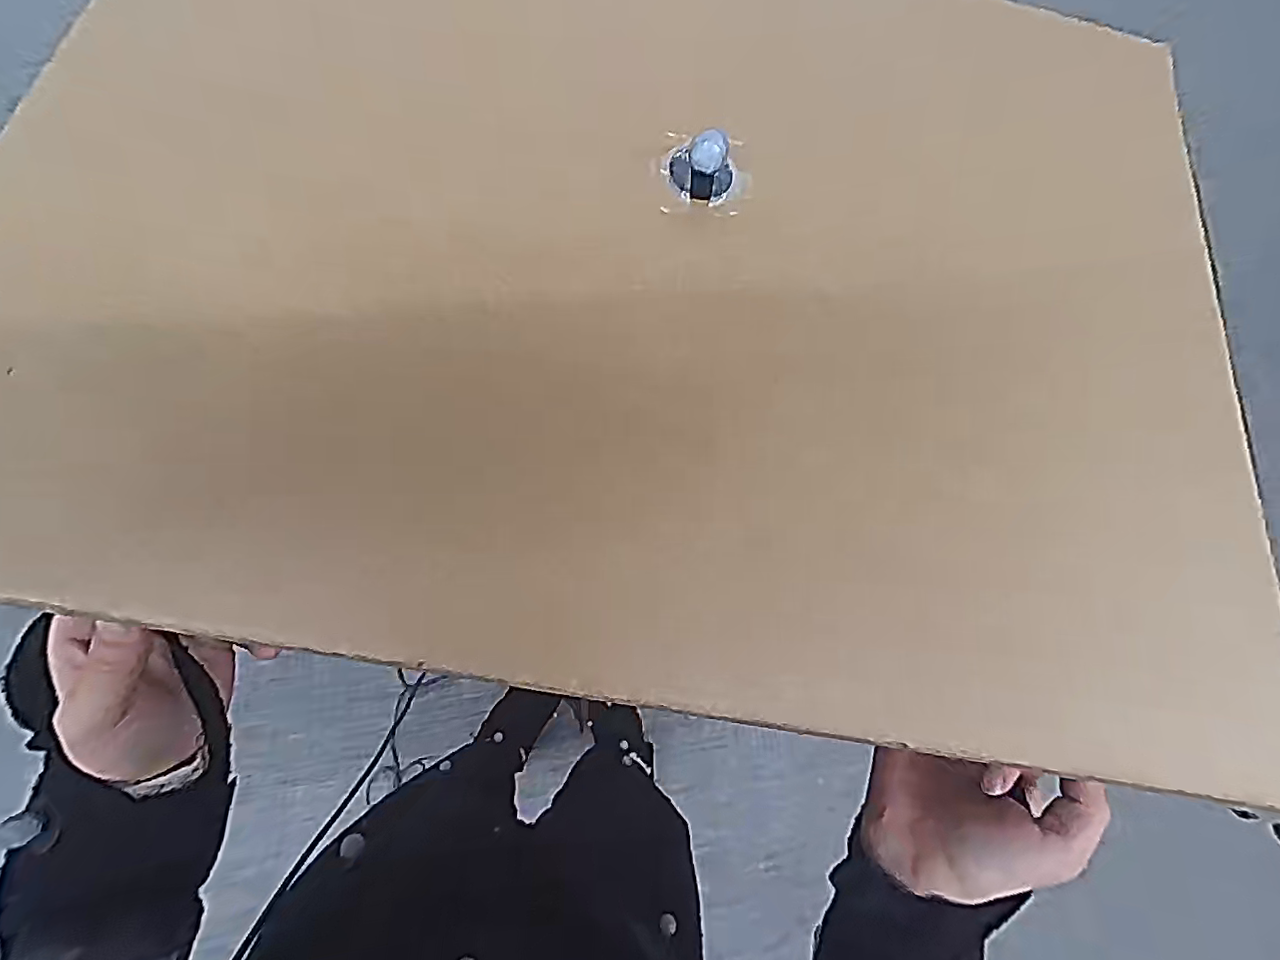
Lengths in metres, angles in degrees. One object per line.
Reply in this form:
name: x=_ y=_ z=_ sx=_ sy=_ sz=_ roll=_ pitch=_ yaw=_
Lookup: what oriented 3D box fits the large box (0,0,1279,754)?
large box: x=-0.001 y=-0.058 z=0.322 sx=0.408 sy=0.320 sz=0.320 roll=10 pitch=74 yaw=-4
